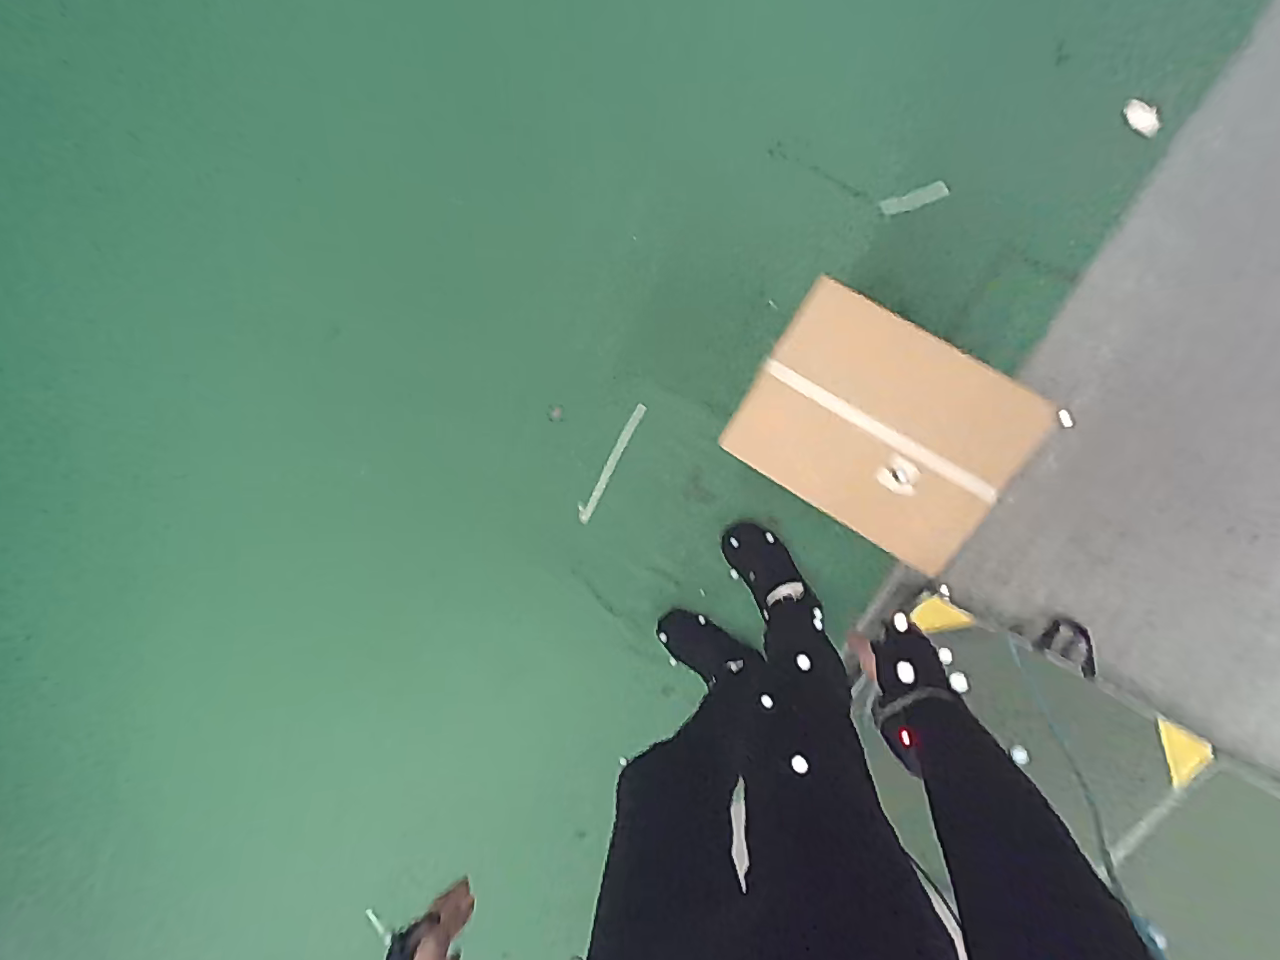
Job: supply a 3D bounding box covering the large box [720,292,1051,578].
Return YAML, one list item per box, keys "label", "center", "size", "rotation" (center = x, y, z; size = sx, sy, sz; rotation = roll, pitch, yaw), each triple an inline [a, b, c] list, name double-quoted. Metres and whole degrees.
- label: "large box"
  center: [0.404, -0.088, 1.005]
  size: [0.408, 0.320, 0.320]
  rotation: [33, 104, 7]
